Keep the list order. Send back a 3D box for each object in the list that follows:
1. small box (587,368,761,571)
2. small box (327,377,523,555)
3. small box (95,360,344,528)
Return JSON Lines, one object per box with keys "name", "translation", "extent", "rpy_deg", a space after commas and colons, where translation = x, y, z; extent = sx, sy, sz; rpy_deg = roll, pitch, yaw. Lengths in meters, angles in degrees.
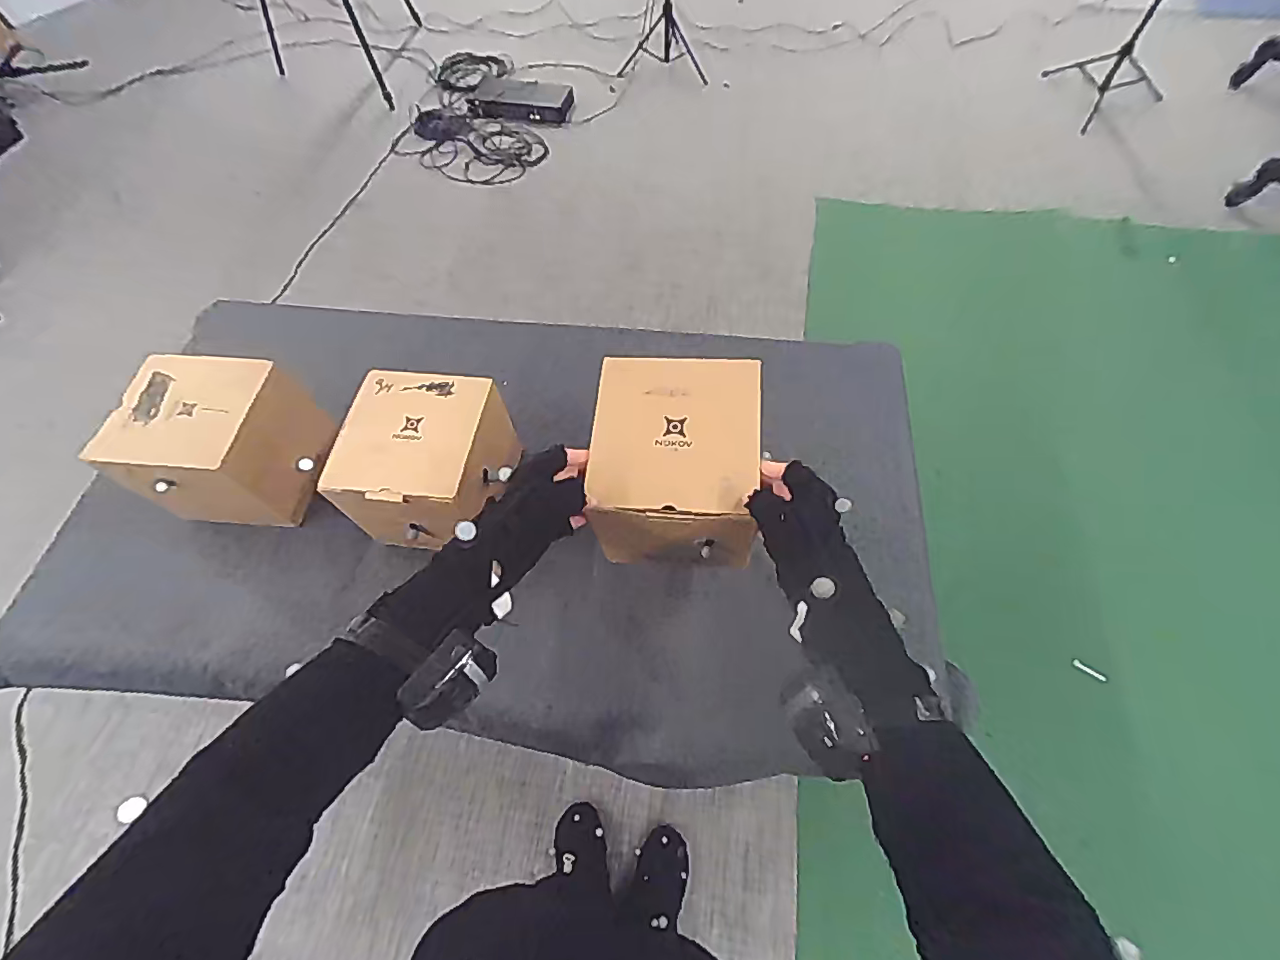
{"name": "small box", "translation": [0.045, -0.004, 0.608], "extent": [0.168, 0.176, 0.179], "rpy_deg": [3, 64, 6]}
{"name": "small box", "translation": [-0.266, -0.012, 0.719], "extent": [0.168, 0.176, 0.179], "rpy_deg": [6, 62, 5]}
{"name": "small box", "translation": [-0.556, -0.044, 0.746], "extent": [0.179, 0.176, 0.168], "rpy_deg": [4, 61, 3]}
